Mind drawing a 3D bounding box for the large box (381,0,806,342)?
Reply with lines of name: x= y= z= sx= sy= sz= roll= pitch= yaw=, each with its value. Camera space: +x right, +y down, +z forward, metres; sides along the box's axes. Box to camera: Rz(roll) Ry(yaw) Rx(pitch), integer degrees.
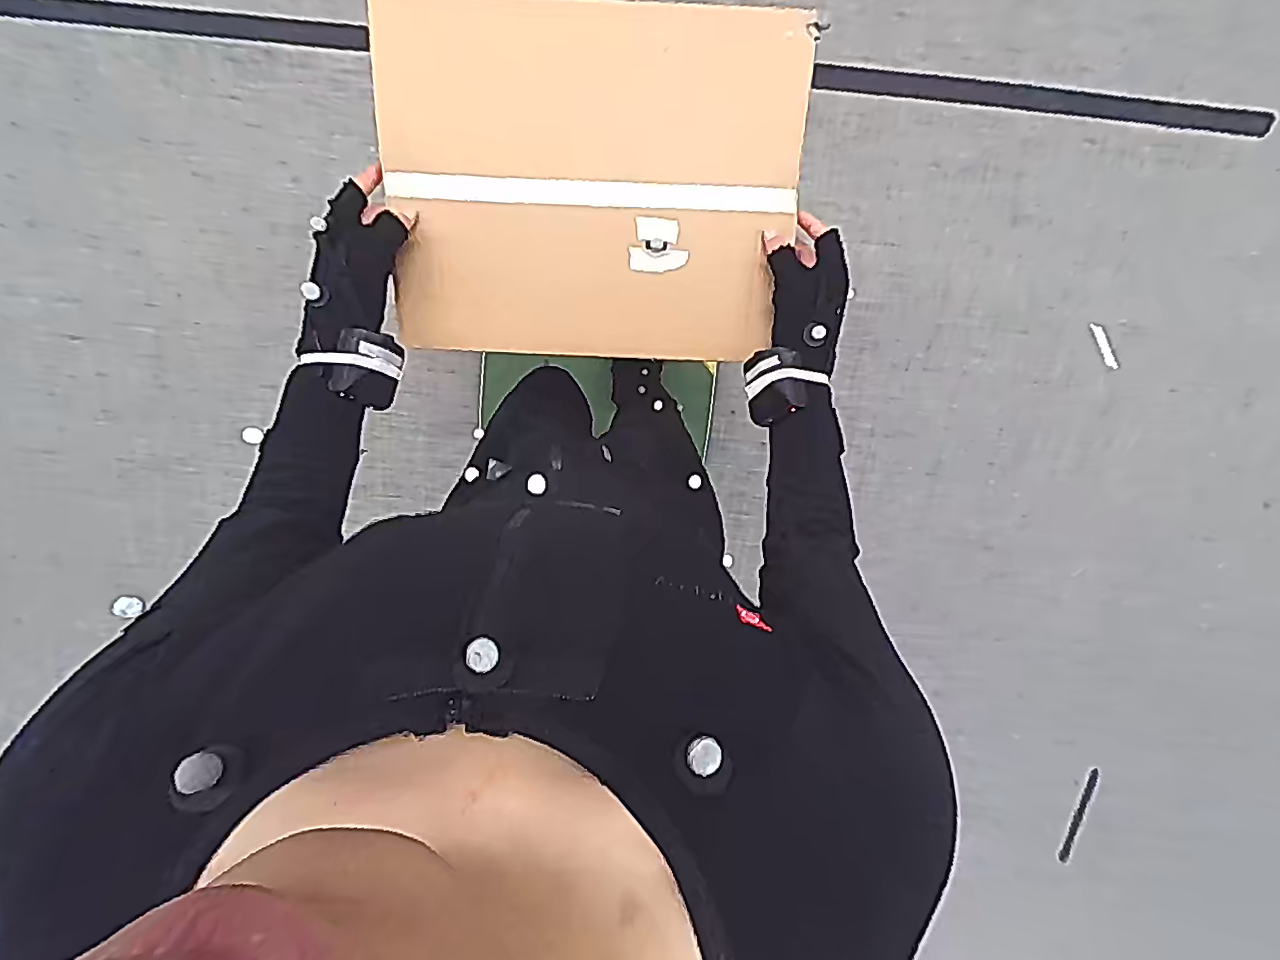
large box: x=-0.049 y=-0.346 z=0.688 sx=0.408 sy=0.320 sz=0.320 roll=1 pitch=109 yaw=-2
